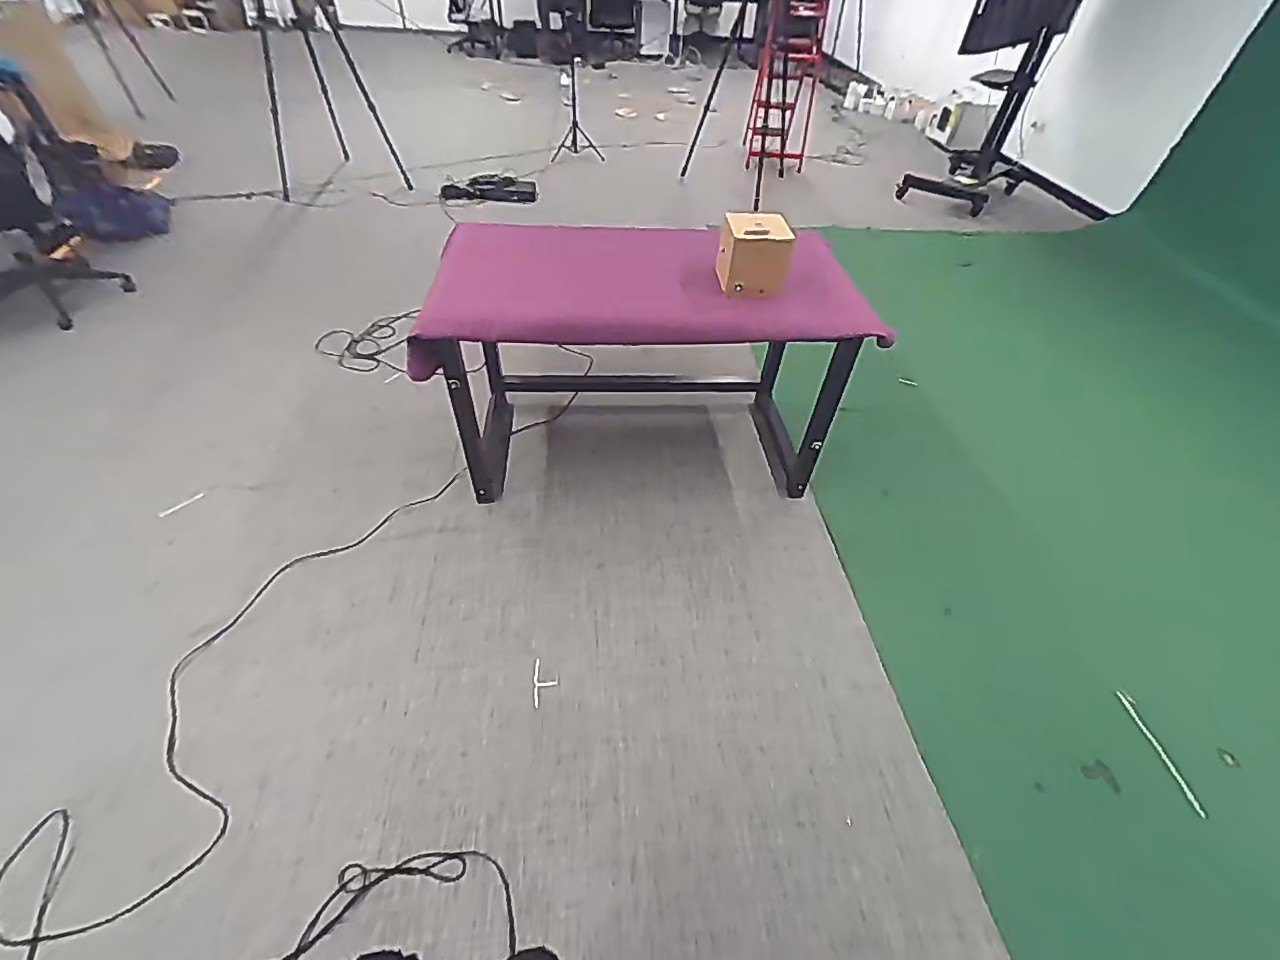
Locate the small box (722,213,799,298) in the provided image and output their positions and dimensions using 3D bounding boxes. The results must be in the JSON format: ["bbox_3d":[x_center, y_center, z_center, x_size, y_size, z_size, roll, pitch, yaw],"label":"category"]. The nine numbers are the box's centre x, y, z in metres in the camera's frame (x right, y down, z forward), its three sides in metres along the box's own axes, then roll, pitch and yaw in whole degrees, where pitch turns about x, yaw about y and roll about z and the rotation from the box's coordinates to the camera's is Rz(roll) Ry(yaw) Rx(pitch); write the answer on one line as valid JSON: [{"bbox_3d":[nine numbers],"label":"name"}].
[{"bbox_3d":[0.331,-0.630,1.523,0.168,0.176,0.179,3,47,-3],"label":"small box"}]
